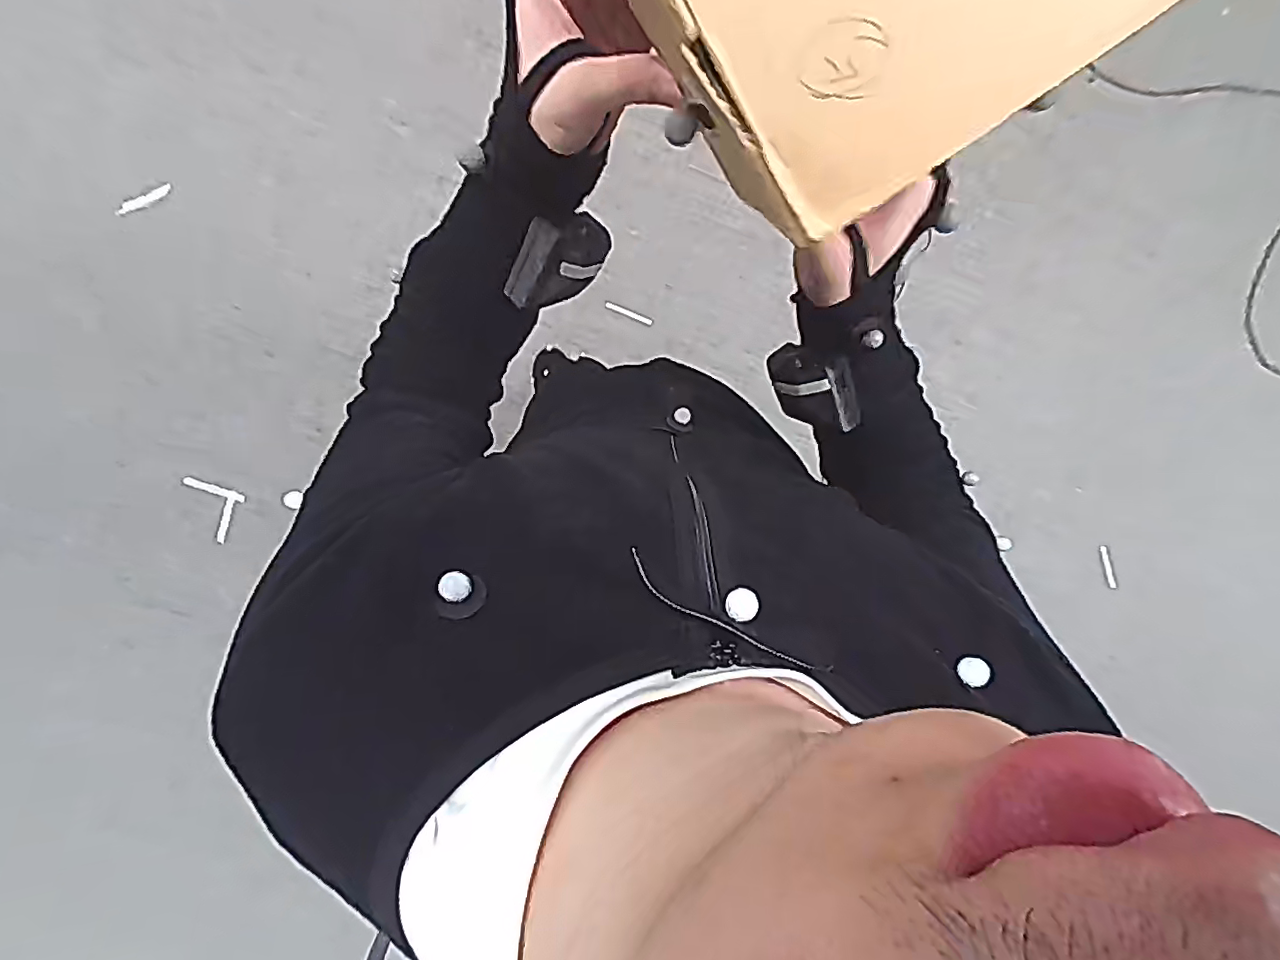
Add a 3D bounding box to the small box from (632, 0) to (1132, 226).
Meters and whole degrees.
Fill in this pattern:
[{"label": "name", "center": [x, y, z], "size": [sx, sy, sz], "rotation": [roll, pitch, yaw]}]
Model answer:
[{"label": "small box", "center": [0.072, -0.215, 0.170], "size": [0.179, 0.176, 0.168], "rotation": [-32, 116, 20]}]
